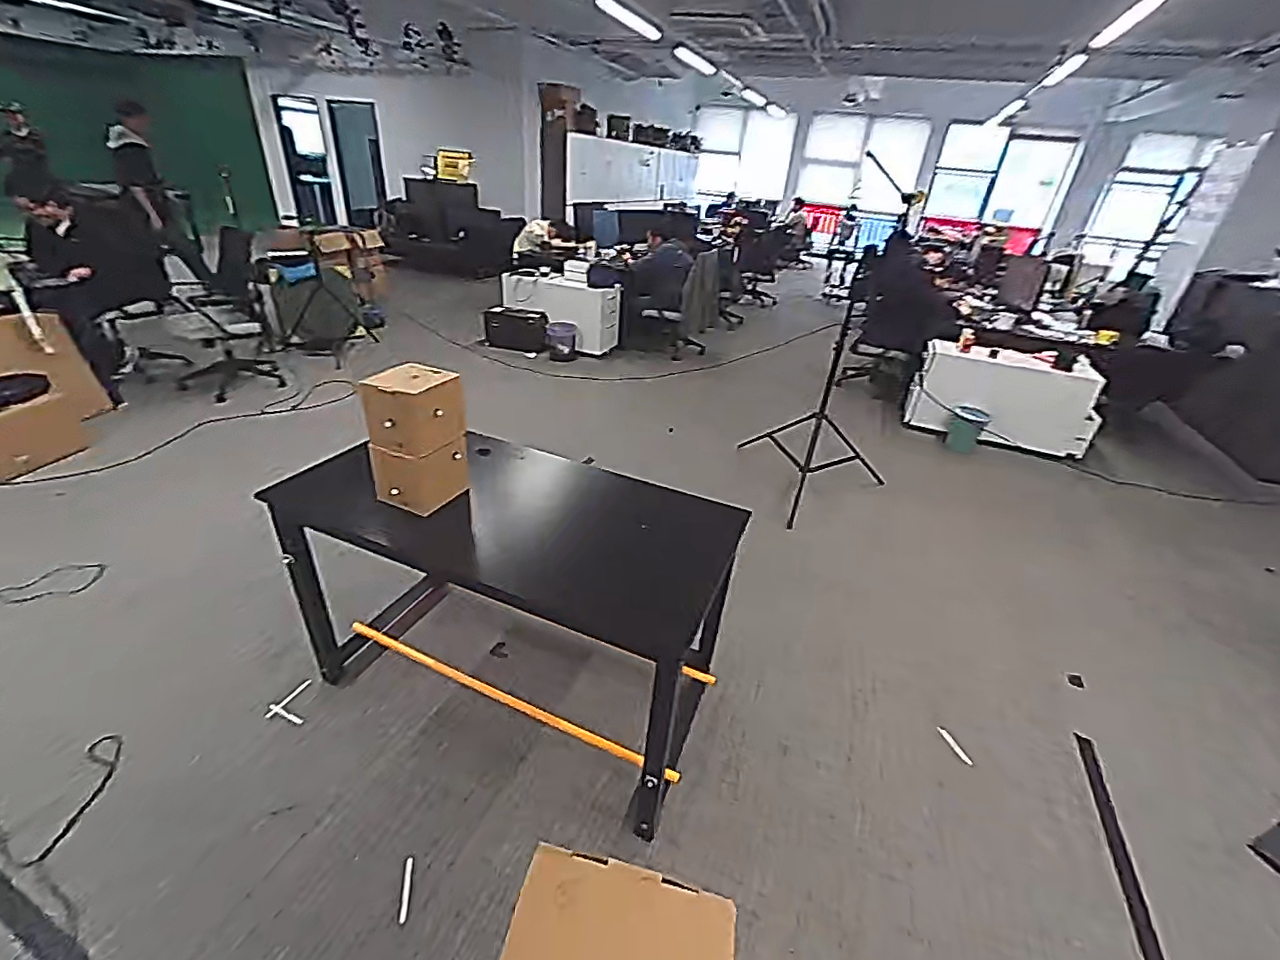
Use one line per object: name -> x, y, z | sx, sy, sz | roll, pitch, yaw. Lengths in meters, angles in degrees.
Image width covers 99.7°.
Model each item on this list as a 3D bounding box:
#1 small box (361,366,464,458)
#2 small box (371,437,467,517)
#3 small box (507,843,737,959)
small box -> -0.569, -0.174, 1.378 | 0.168, 0.176, 0.179 | 15, 32, 16
small box -> -0.584, -0.028, 1.452 | 0.168, 0.176, 0.179 | 16, 32, 19
small box -> -0.030, 0.422, 0.416 | 0.168, 0.176, 0.179 | 13, 42, 3
